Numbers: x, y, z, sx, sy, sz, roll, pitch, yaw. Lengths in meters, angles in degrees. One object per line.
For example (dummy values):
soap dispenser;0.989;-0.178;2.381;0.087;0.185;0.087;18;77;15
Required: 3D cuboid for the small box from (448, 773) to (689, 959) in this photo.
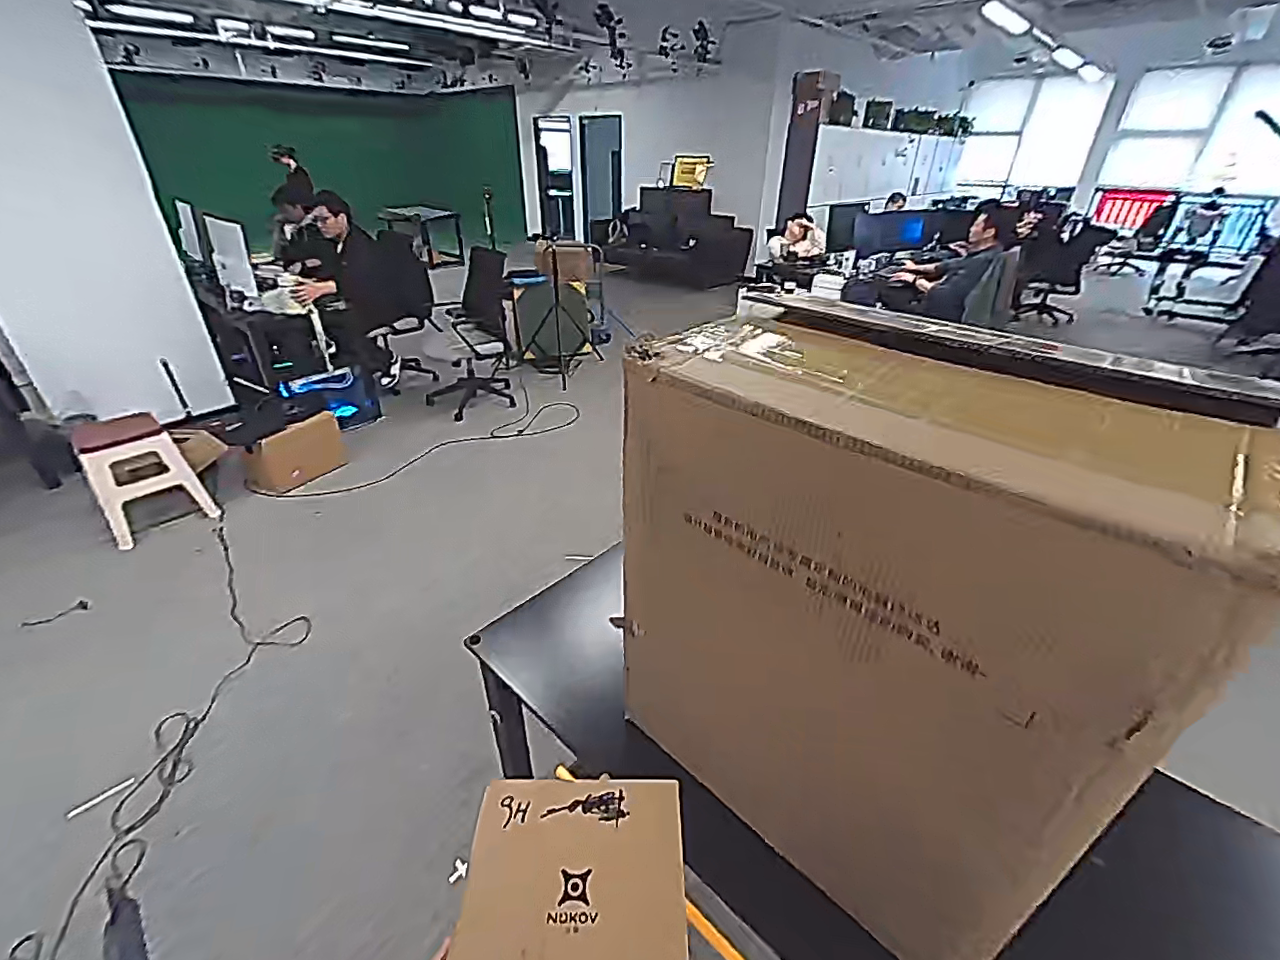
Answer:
small box;-0.045;0.364;0.434;0.168;0.176;0.179;-1;35;0
